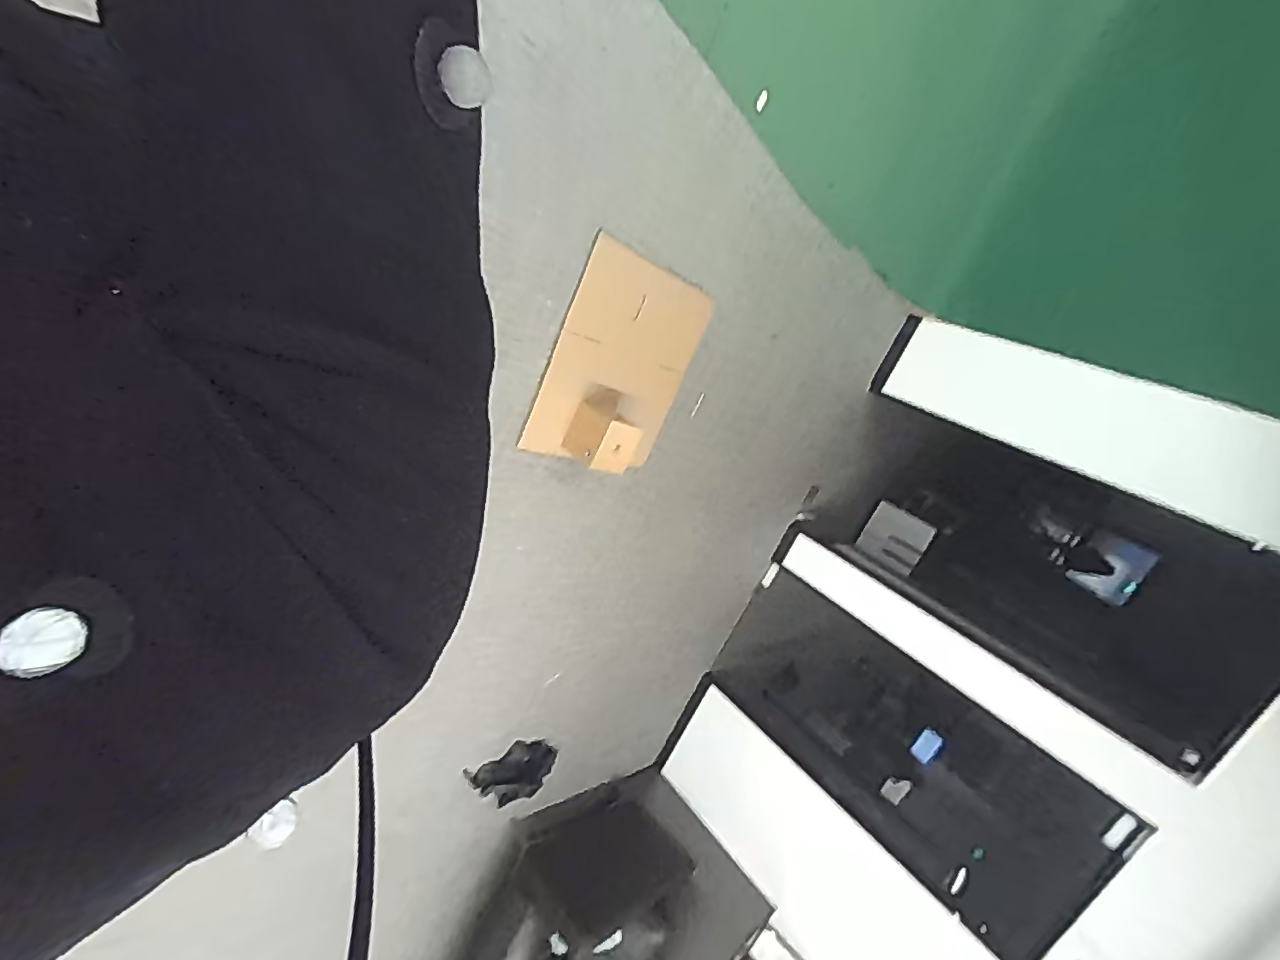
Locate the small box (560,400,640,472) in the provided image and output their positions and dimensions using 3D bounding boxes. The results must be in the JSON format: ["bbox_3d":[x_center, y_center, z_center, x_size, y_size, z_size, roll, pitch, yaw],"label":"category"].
[{"bbox_3d":[-0.139,-0.150,1.810,0.168,0.176,0.179,9,112,-50],"label":"small box"}]
